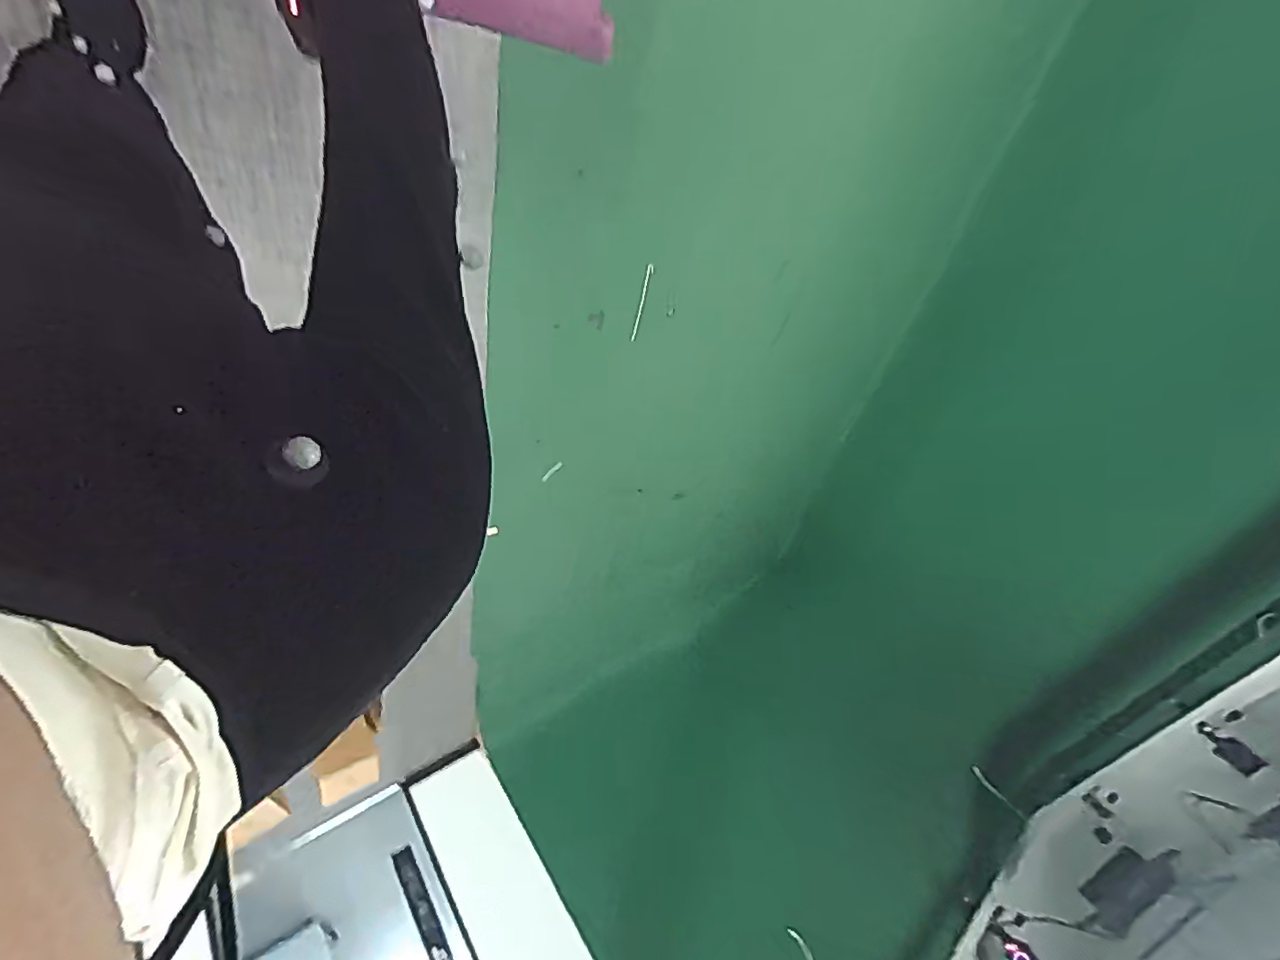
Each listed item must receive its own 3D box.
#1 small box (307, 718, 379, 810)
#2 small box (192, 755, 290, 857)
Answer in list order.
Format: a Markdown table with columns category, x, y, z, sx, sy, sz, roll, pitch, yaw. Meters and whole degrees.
| category | x | y | z | sx | sy | sz | roll | pitch | yaw |
| --- | --- | --- | --- | --- | --- | --- | --- | --- | --- |
| small box | -0.954 | 0.905 | 1.737 | 0.168 | 0.176 | 0.179 | -14 | 136 | -39 |
| small box | -1.143 | 0.925 | 1.548 | 0.168 | 0.176 | 0.179 | -25 | 142 | -27 |
